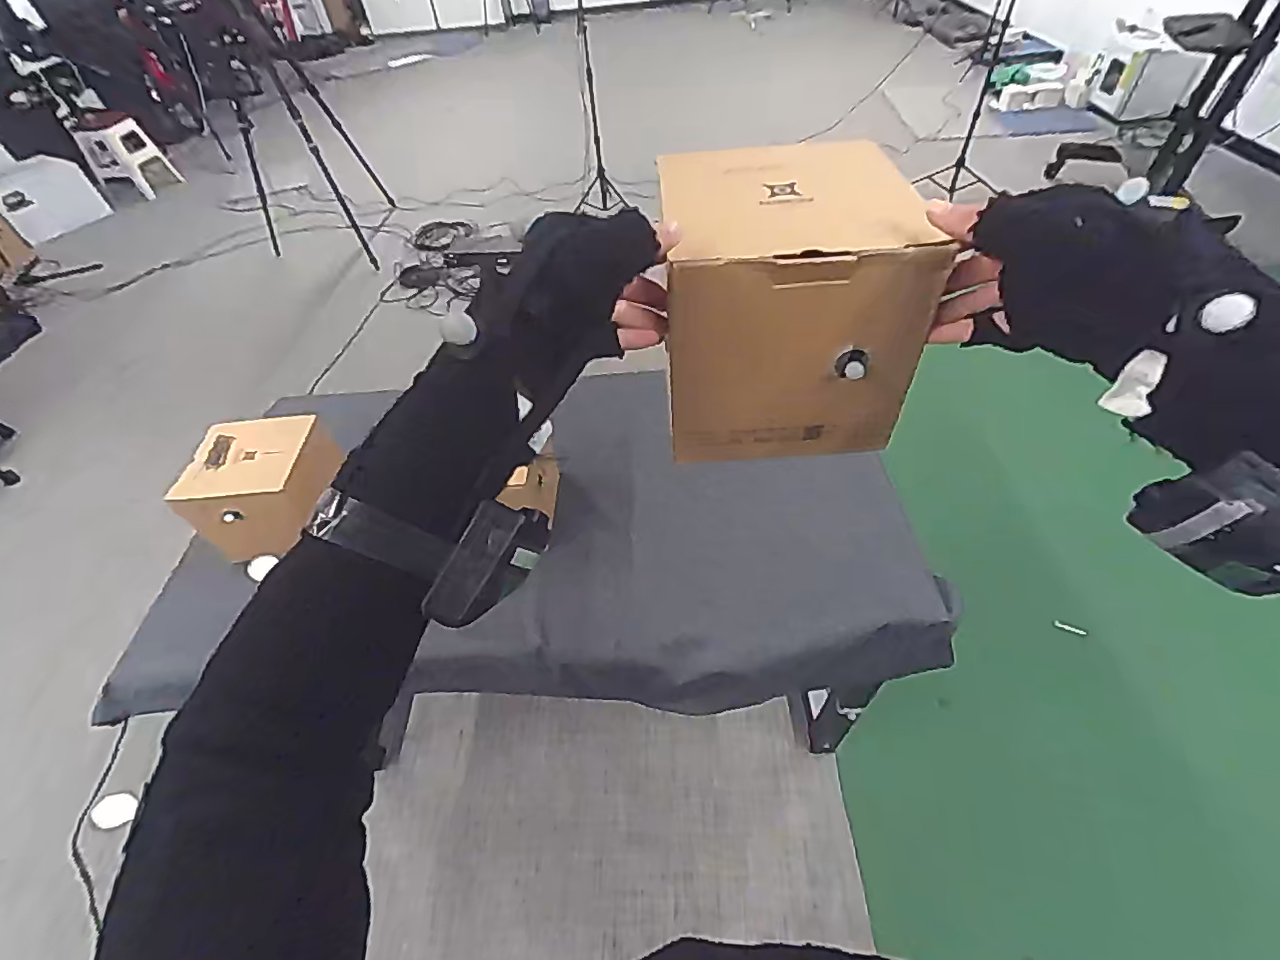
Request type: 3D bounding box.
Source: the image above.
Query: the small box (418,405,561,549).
[{"bbox_3d":[-0.230,0.001,0.882,0.168,0.176,0.179,-2,50,4],"label":"small box"}]

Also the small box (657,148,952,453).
[{"bbox_3d":[0.101,-0.133,0.422,0.168,0.176,0.179,-3,47,1],"label":"small box"}]

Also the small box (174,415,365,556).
[{"bbox_3d":[-0.600,0.014,0.904,0.179,0.176,0.168,-5,50,0],"label":"small box"}]
